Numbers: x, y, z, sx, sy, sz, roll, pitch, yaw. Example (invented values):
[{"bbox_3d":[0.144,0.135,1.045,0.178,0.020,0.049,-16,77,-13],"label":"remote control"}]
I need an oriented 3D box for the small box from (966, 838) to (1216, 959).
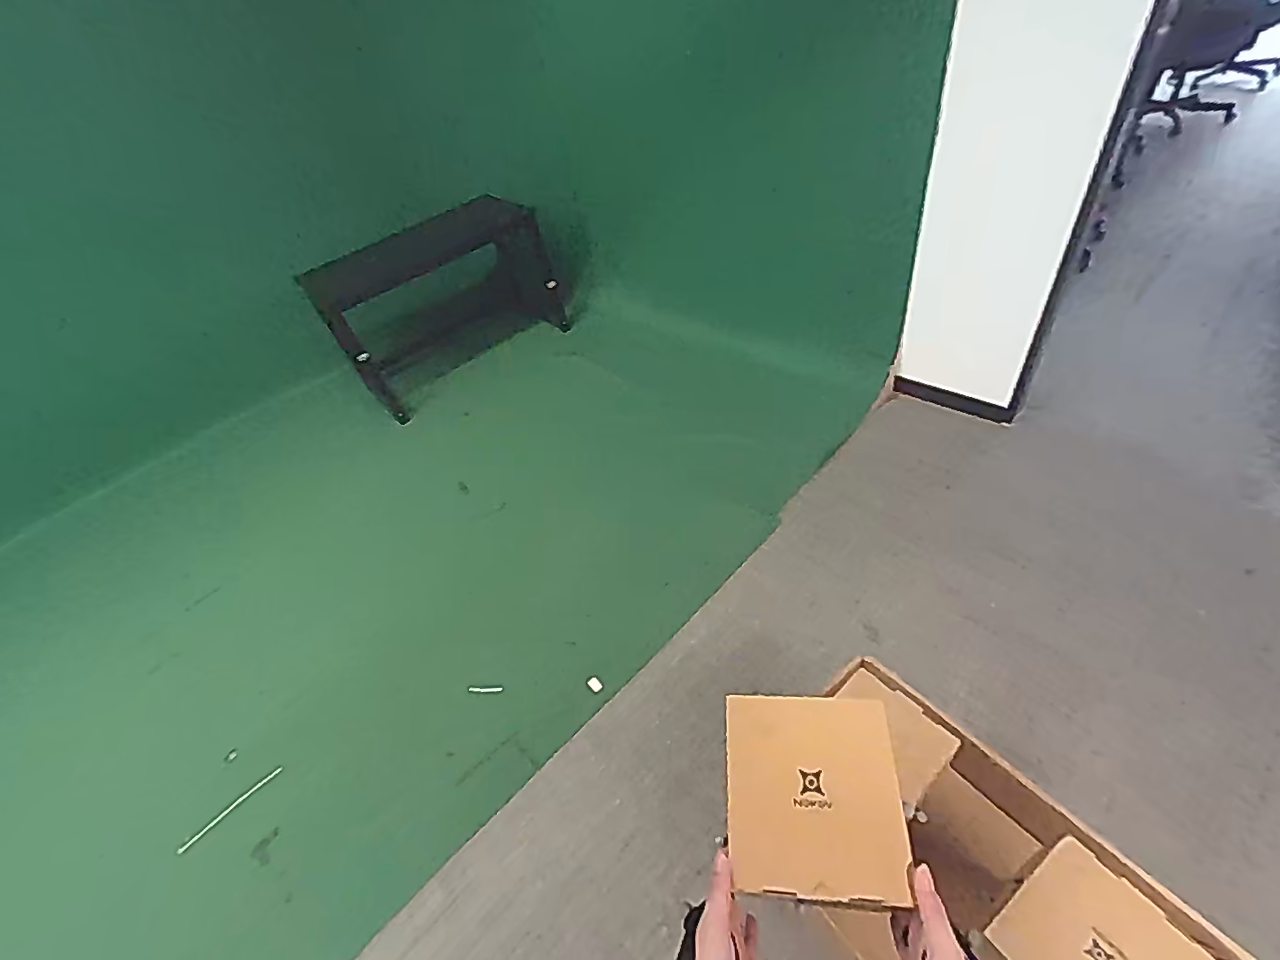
[{"bbox_3d":[0.535,0.588,0.659,0.179,0.176,0.168,-31,46,-17],"label":"small box"}]

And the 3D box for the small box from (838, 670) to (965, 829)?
[{"bbox_3d":[0.364,0.445,0.847,0.179,0.176,0.168,-35,46,-21],"label":"small box"}]

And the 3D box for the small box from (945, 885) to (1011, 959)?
[{"bbox_3d":[0.569,0.704,0.767,0.179,0.176,0.168,-31,46,-16],"label":"small box"}]

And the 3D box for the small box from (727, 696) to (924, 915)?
[{"bbox_3d":[0.178,0.349,0.583,0.168,0.176,0.179,-2,53,9],"label":"small box"}]
